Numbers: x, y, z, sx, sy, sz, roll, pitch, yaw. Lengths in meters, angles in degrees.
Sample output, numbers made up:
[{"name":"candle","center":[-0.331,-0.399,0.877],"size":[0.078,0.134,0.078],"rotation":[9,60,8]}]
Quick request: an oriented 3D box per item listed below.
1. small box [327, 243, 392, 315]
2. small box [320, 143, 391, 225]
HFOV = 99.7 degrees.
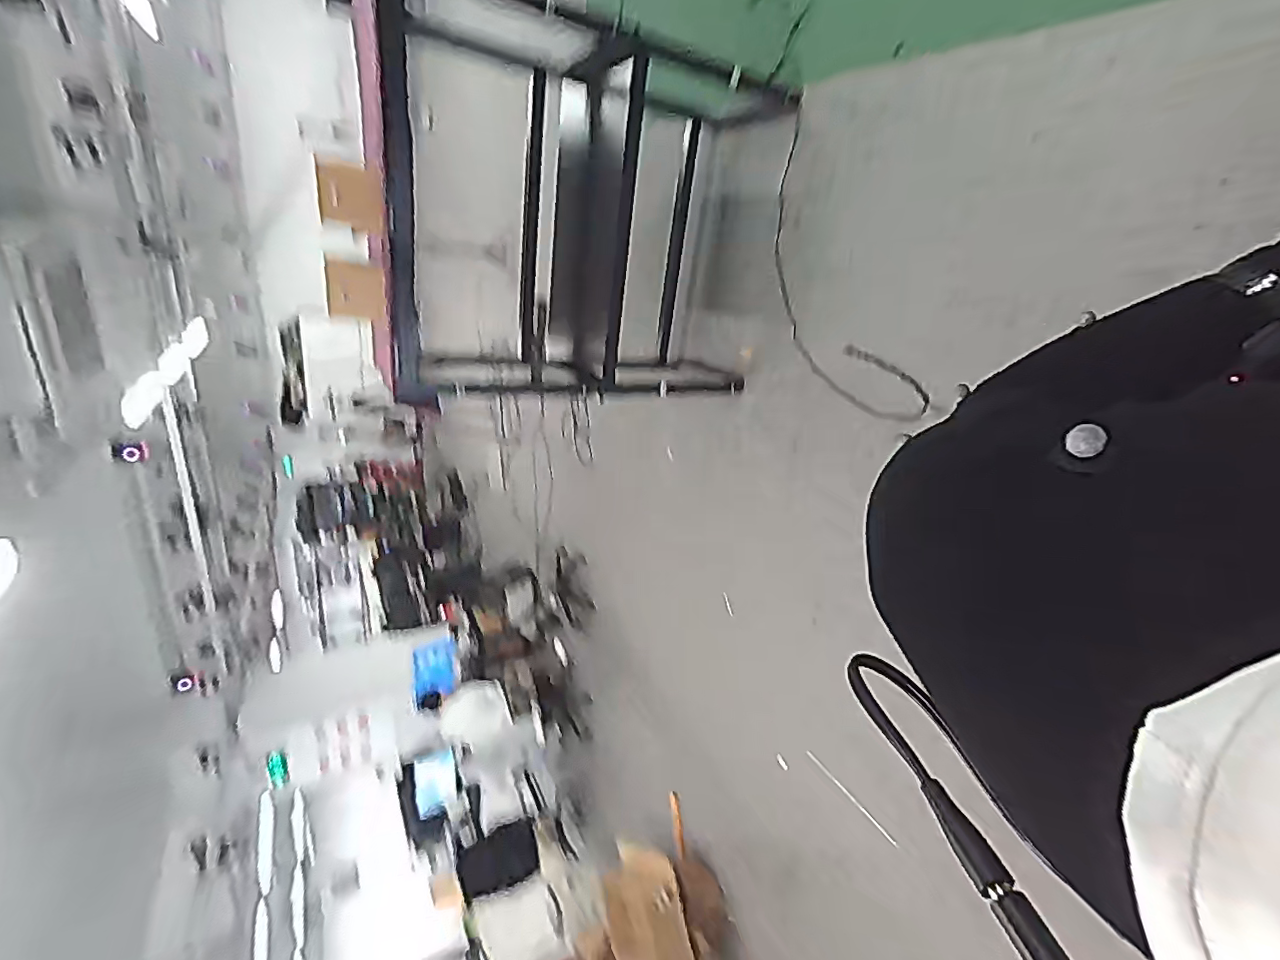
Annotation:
[{"name":"small box","center":[-0.863,-0.616,1.664],"size":[0.168,0.176,0.179],"rotation":[44,130,50]},{"name":"small box","center":[-0.827,-0.853,1.572],"size":[0.168,0.176,0.179],"rotation":[39,127,53]}]
